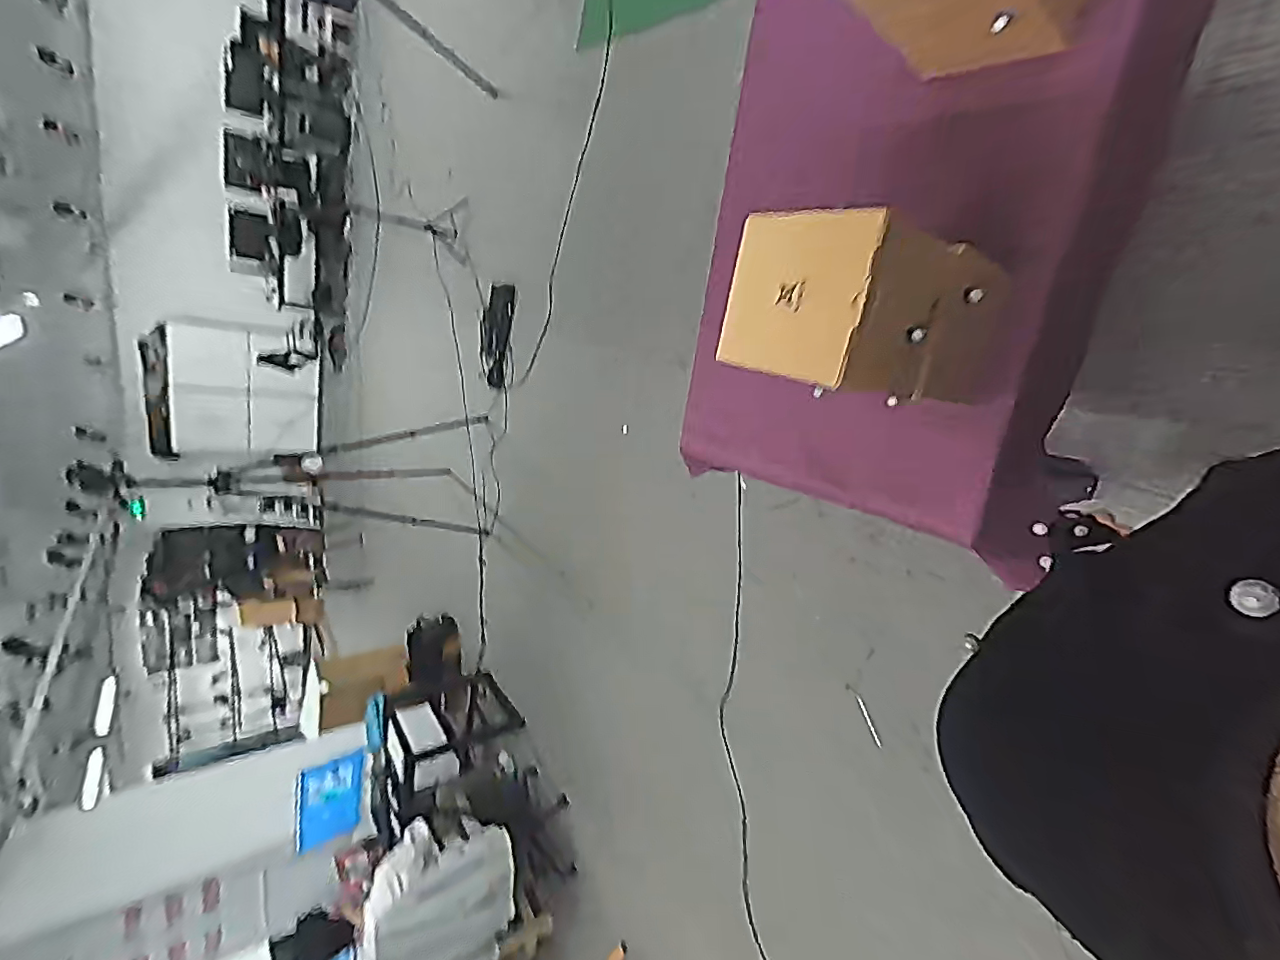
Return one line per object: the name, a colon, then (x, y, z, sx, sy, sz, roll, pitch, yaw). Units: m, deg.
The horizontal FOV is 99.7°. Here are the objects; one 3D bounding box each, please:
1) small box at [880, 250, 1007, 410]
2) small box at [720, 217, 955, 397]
small box: (0.363, -0.201, 0.734, 0.168, 0.176, 0.179, 28, 113, 49)
small box: (0.229, -0.198, 0.641, 0.179, 0.176, 0.168, 28, 112, 47)
